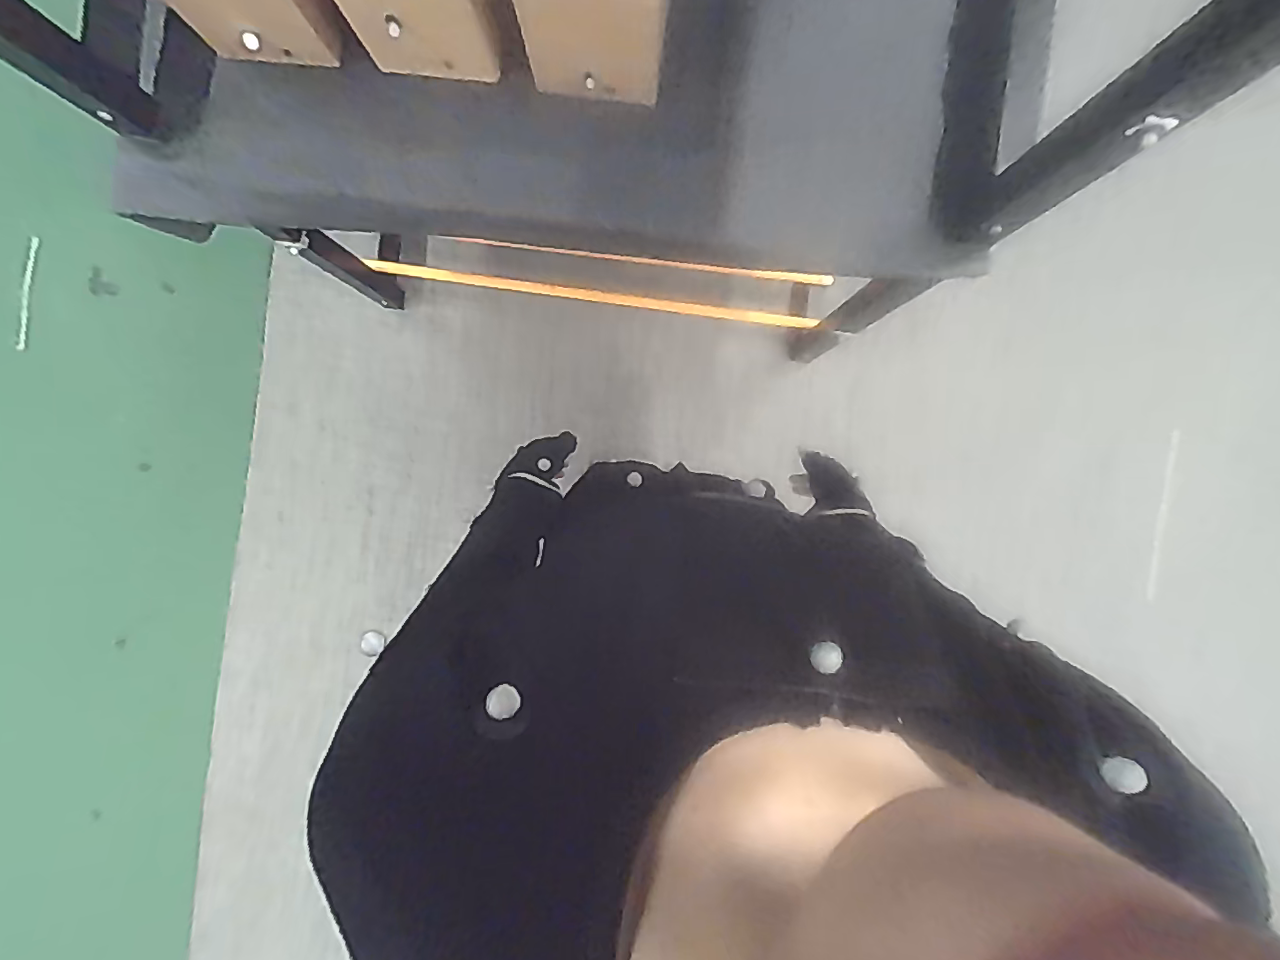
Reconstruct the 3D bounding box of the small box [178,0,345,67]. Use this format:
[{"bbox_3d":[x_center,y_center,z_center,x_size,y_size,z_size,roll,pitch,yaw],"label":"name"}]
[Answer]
[{"bbox_3d":[-0.483,-0.659,0.659,0.168,0.176,0.179,5,92,0],"label":"small box"}]
